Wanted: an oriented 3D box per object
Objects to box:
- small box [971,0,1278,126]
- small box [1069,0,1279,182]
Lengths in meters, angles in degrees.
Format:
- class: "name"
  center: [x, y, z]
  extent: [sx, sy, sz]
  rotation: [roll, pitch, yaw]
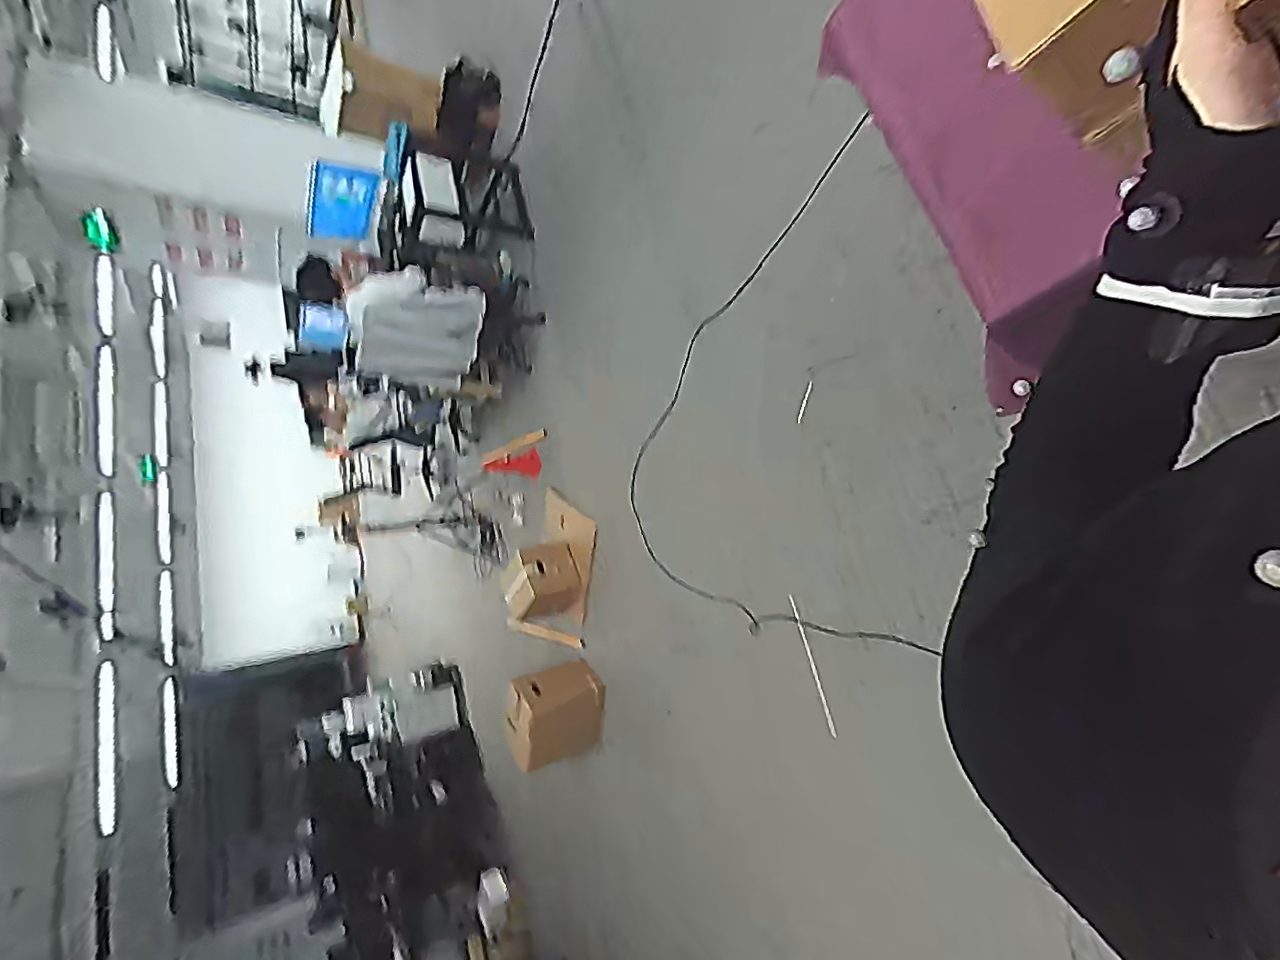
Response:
- class: "small box"
  center: [0.378, -0.429, 0.428]
  extent: [0.168, 0.176, 0.179]
  rotation: [-32, 67, 51]
- class: "small box"
  center: [0.515, -0.430, 0.517]
  extent: [0.179, 0.176, 0.168]
  rotation: [-33, 65, 52]
